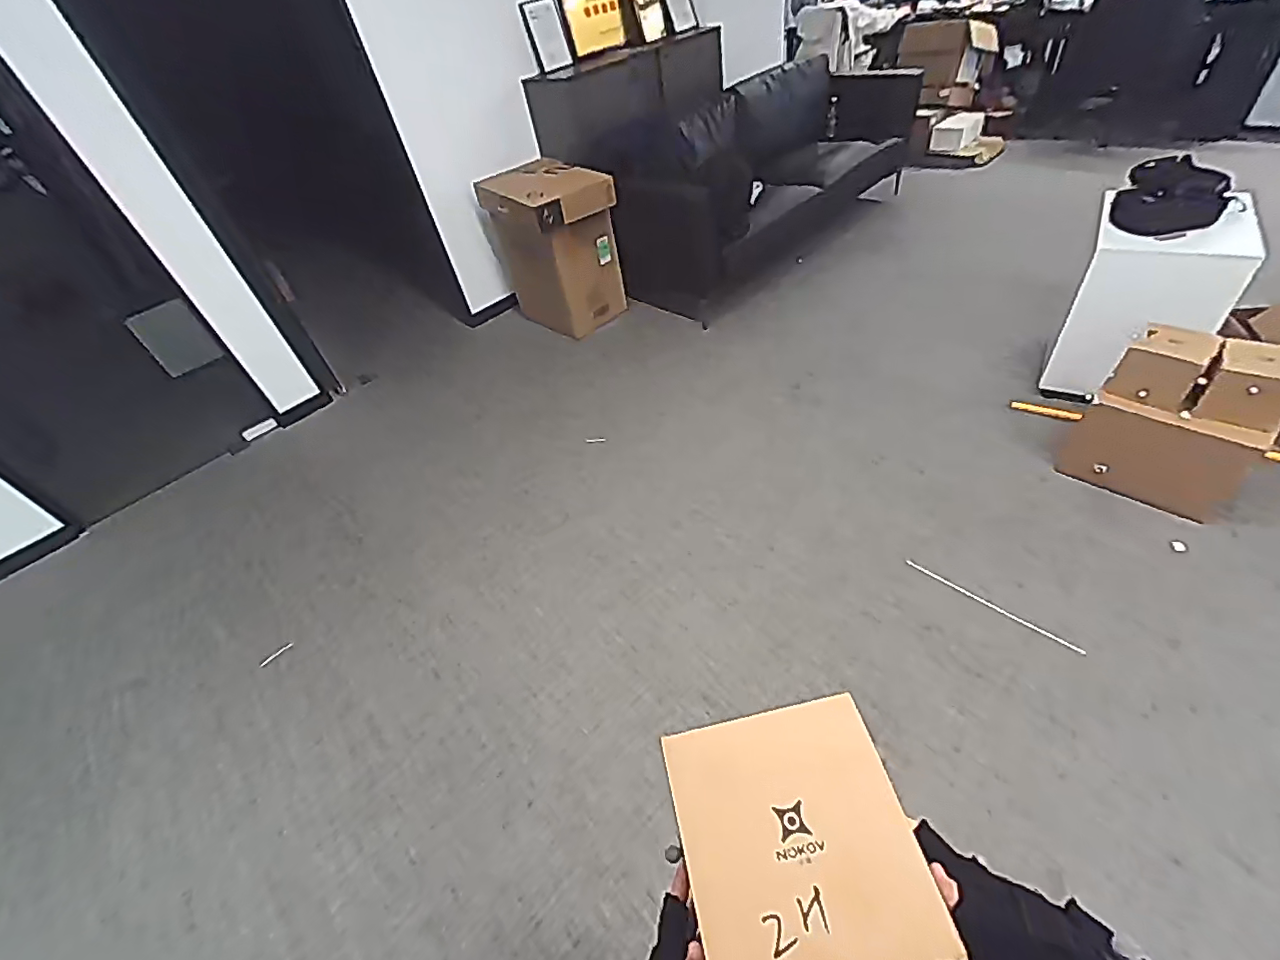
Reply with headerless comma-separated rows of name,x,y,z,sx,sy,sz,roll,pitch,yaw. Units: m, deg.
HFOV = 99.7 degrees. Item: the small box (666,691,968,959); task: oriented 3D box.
small box,0.122,0.306,0.451,0.168,0.176,0.179,-13,49,-1
